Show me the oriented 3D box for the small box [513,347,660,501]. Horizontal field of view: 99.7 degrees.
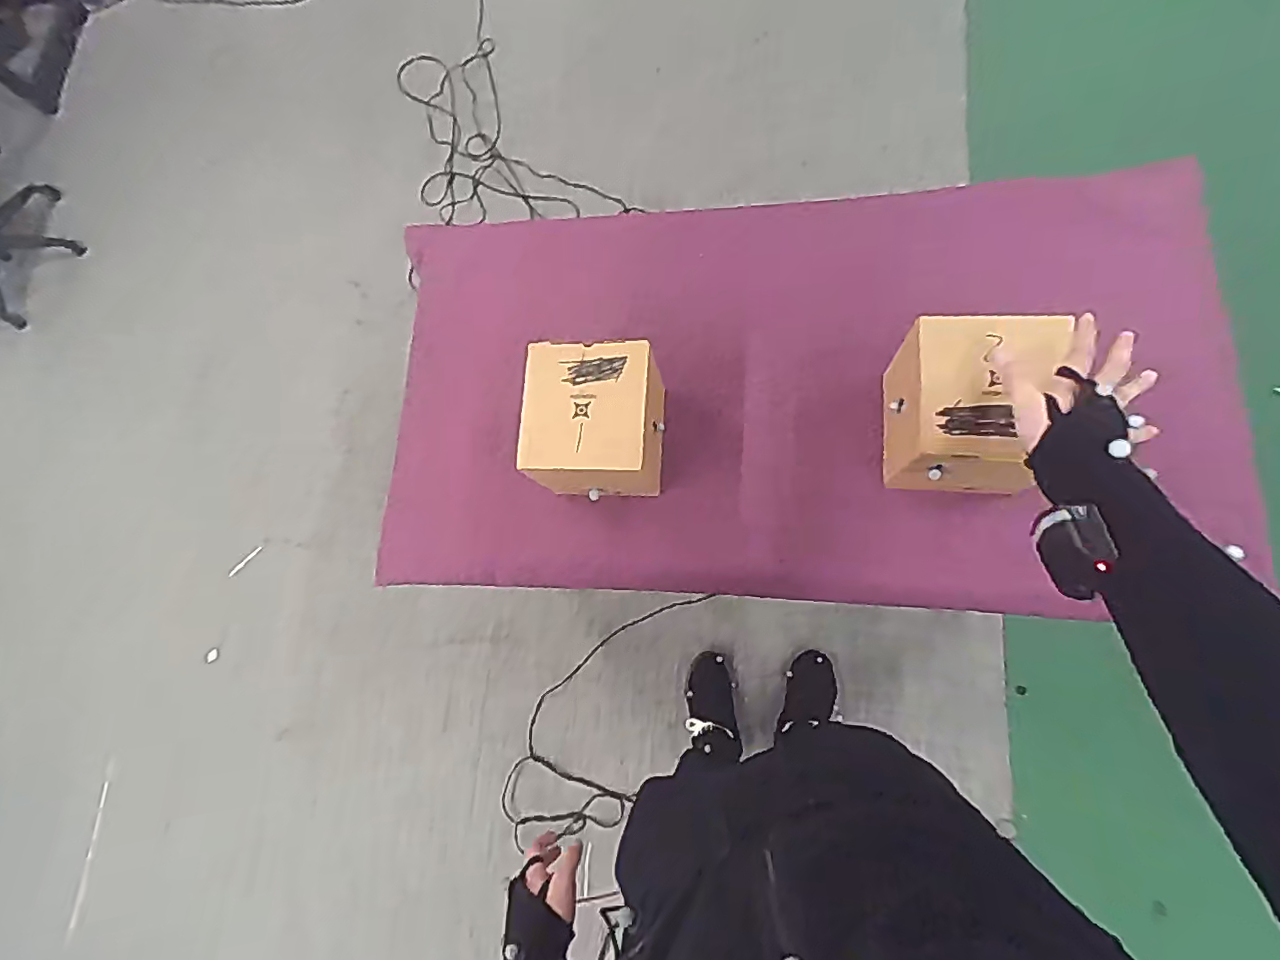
[{"bbox_3d":[-0.065,-0.073,0.775,0.168,0.176,0.179,1,78,10],"label":"small box"}]
